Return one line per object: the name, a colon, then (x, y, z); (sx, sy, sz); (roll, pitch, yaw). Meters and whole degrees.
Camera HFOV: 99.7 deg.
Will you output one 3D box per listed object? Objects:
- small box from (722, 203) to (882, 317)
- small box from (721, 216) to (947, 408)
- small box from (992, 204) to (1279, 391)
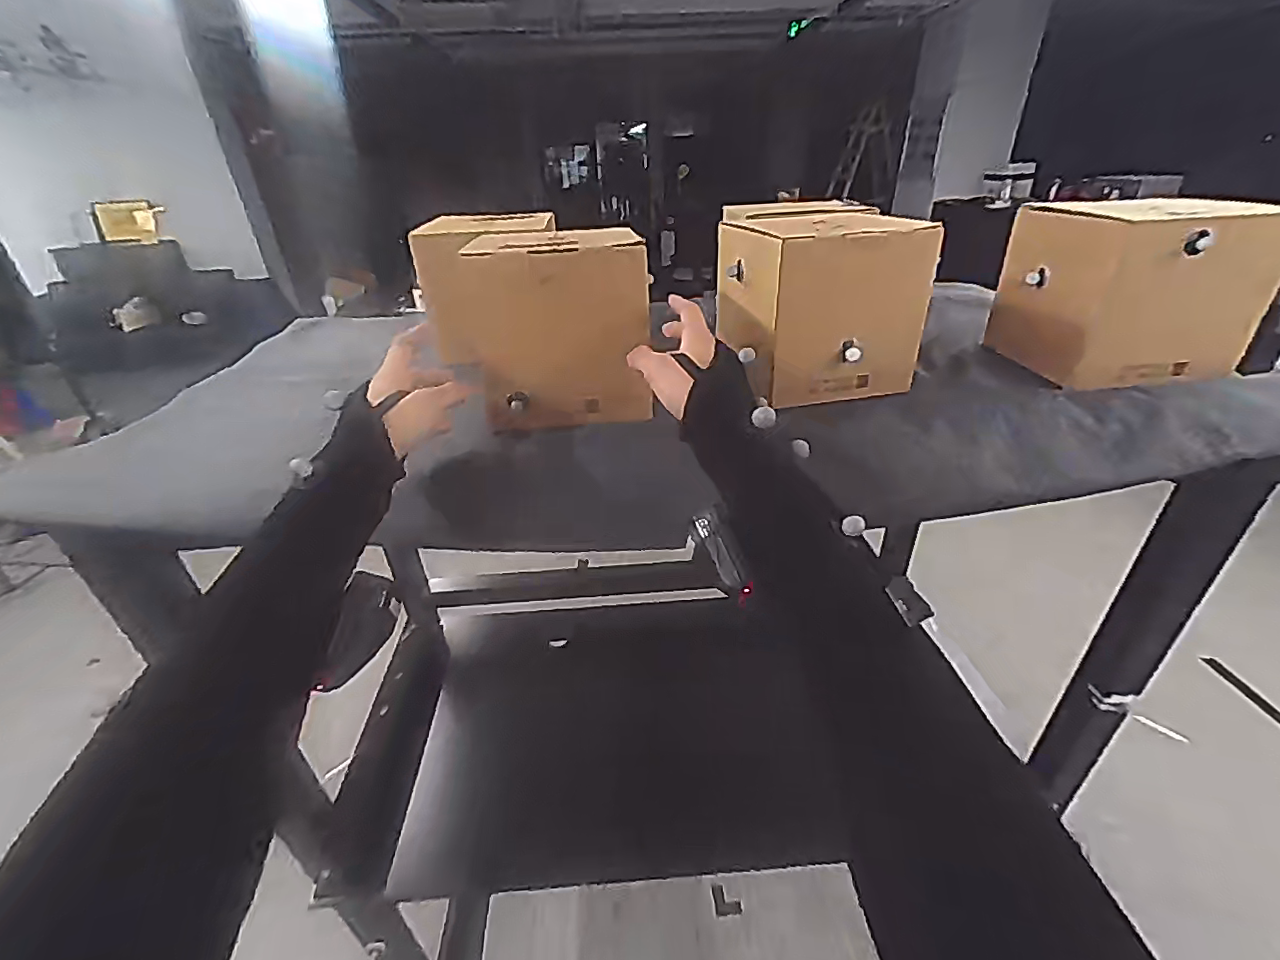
small box: (0.223, -0.305, 0.793); (0.179, 0.176, 0.168); (-3, 30, -1)
small box: (0.195, -0.194, 0.606); (0.168, 0.176, 0.179); (-8, 32, -9)
small box: (0.531, -0.205, 0.598); (0.168, 0.176, 0.179); (-3, 30, 1)
